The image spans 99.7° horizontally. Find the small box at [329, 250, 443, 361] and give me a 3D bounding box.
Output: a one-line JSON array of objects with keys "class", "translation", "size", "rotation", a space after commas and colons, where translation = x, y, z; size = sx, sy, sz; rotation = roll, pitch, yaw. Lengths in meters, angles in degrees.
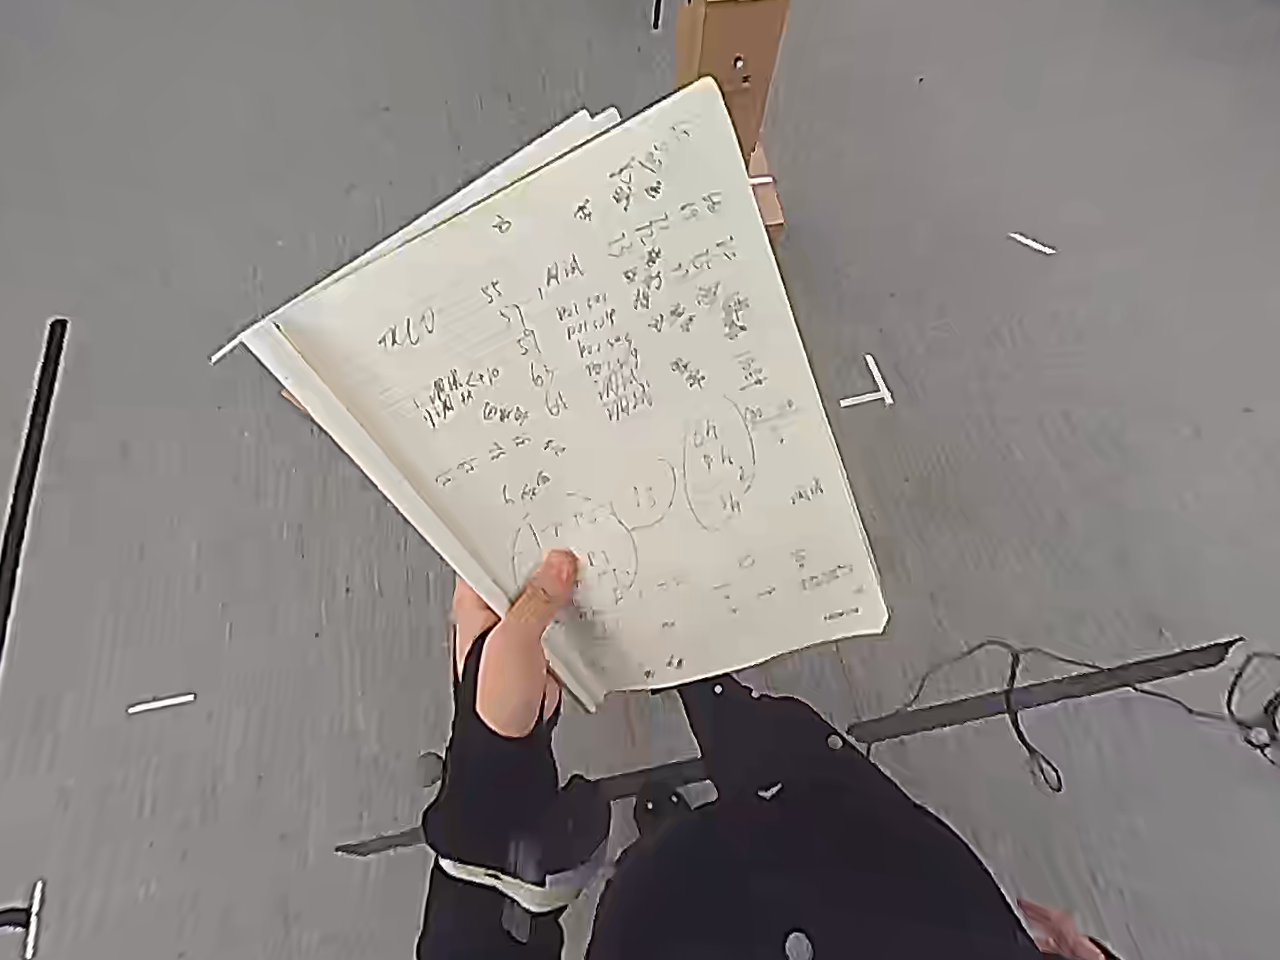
[{"class": "small box", "translation": [-0.642, -0.442, 1.390], "size": [0.168, 0.176, 0.179], "rotation": [40, 72, 14]}]

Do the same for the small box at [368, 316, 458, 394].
[{"class": "small box", "translation": [-0.643, -0.384, 1.542], "size": [0.168, 0.176, 0.179], "rotation": [38, 71, 13]}]

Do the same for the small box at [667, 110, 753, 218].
[{"class": "small box", "translation": [0.173, -0.801, 1.390], "size": [0.168, 0.176, 0.179], "rotation": [-13, 69, -7]}]

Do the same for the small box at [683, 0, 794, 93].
[{"class": "small box", "translation": [0.187, -0.922, 1.084], "size": [0.168, 0.176, 0.179], "rotation": [-11, 70, -5]}]
